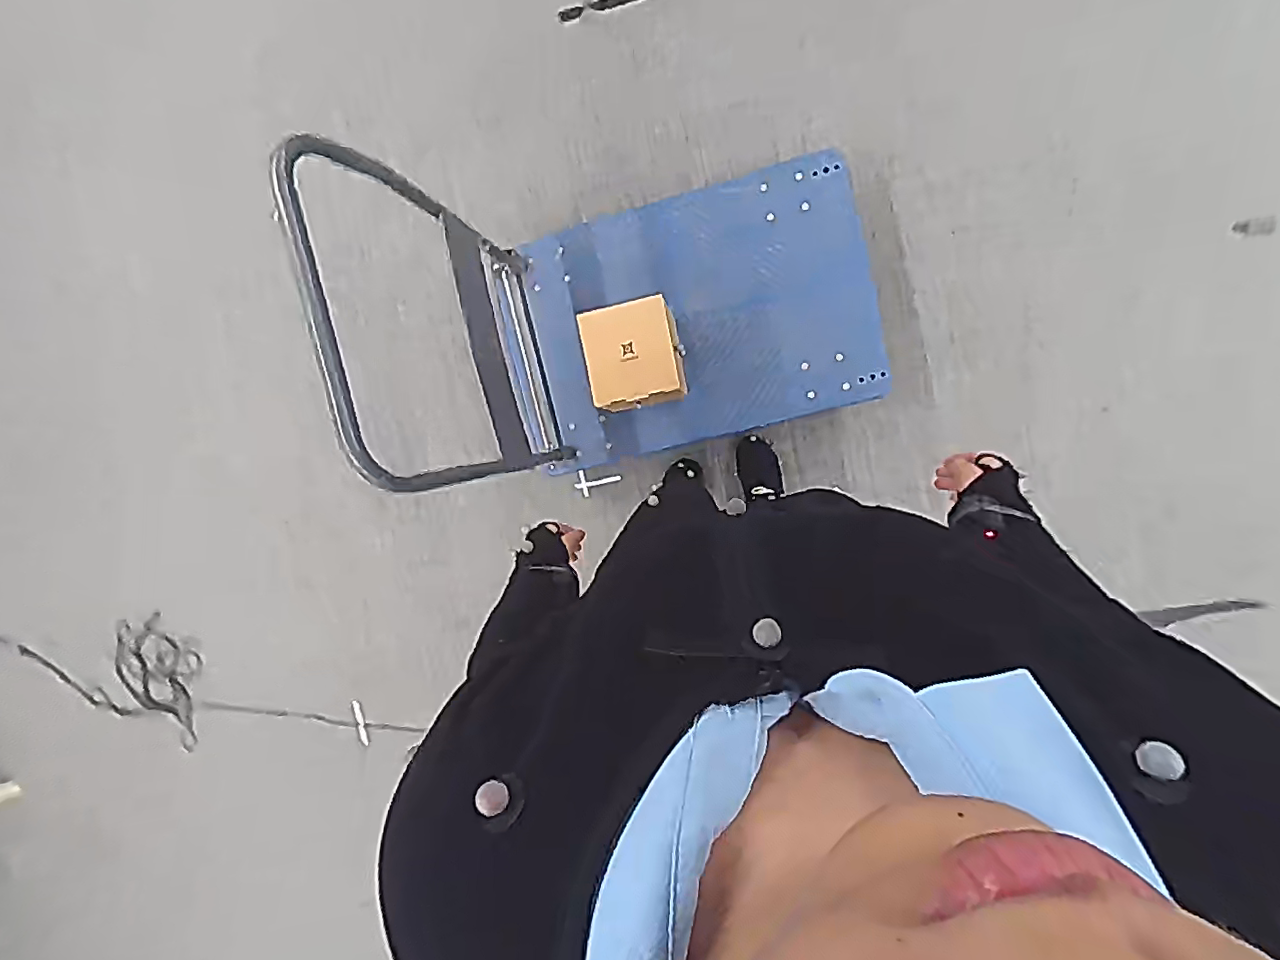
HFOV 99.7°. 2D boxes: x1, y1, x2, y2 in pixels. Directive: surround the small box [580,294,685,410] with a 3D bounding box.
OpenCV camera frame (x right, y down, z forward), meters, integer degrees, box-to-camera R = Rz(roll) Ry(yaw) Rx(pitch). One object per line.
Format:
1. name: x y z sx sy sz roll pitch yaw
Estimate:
1. small box: -0.008 -0.242 1.065 0.168 0.176 0.179 -12 94 9
